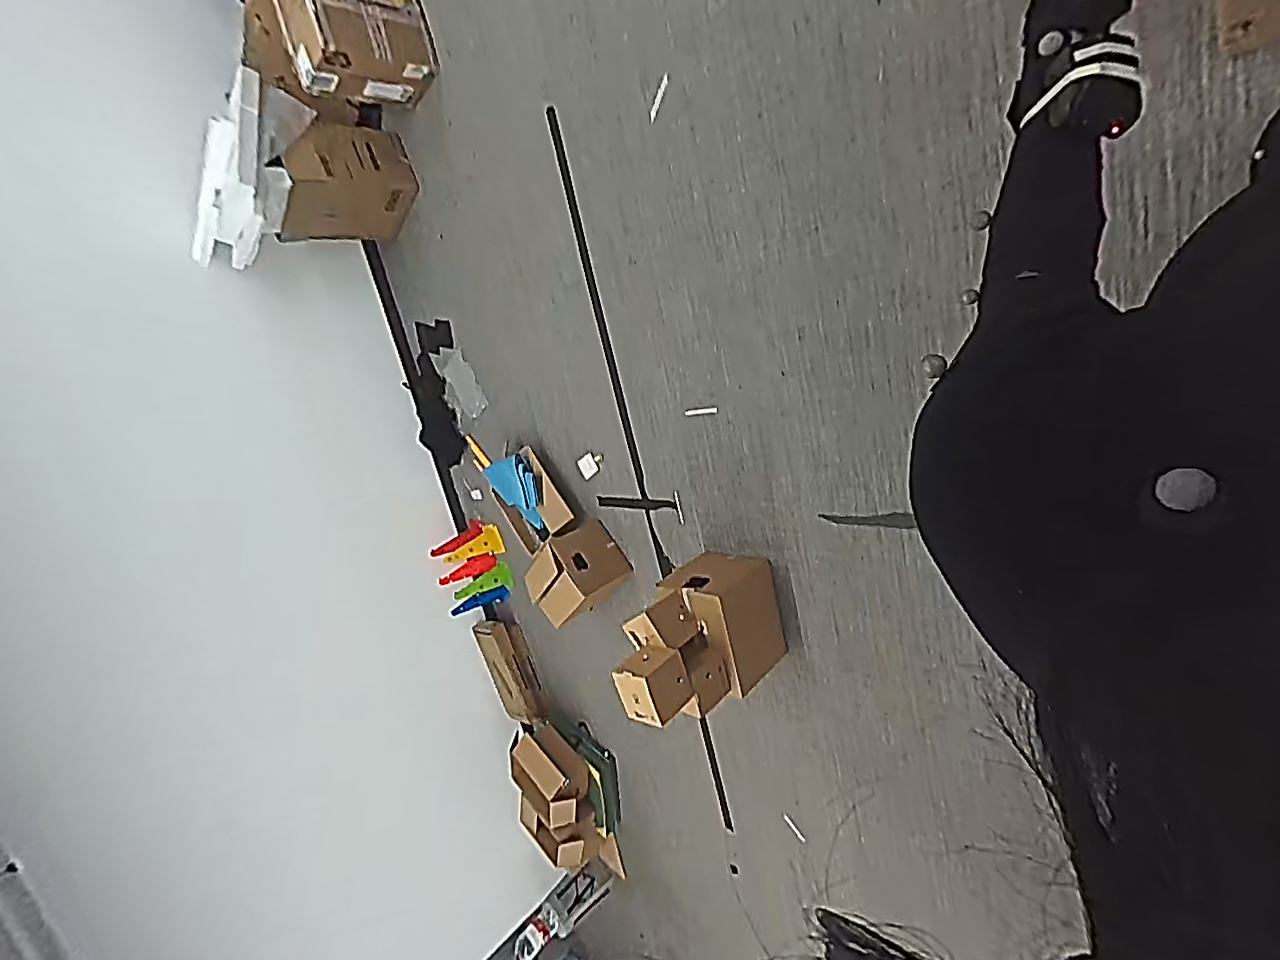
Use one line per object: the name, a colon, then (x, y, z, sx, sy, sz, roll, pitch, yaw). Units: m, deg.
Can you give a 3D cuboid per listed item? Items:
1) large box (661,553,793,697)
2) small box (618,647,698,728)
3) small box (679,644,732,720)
large box: (0.333, 0.526, 2.035, 0.320, 0.320, 0.408, -3, 105, 47)
small box: (0.061, 0.670, 1.768, 0.168, 0.176, 0.179, -10, 101, 49)
small box: (0.203, 0.693, 1.882, 0.179, 0.176, 0.168, -2, 105, 49)
